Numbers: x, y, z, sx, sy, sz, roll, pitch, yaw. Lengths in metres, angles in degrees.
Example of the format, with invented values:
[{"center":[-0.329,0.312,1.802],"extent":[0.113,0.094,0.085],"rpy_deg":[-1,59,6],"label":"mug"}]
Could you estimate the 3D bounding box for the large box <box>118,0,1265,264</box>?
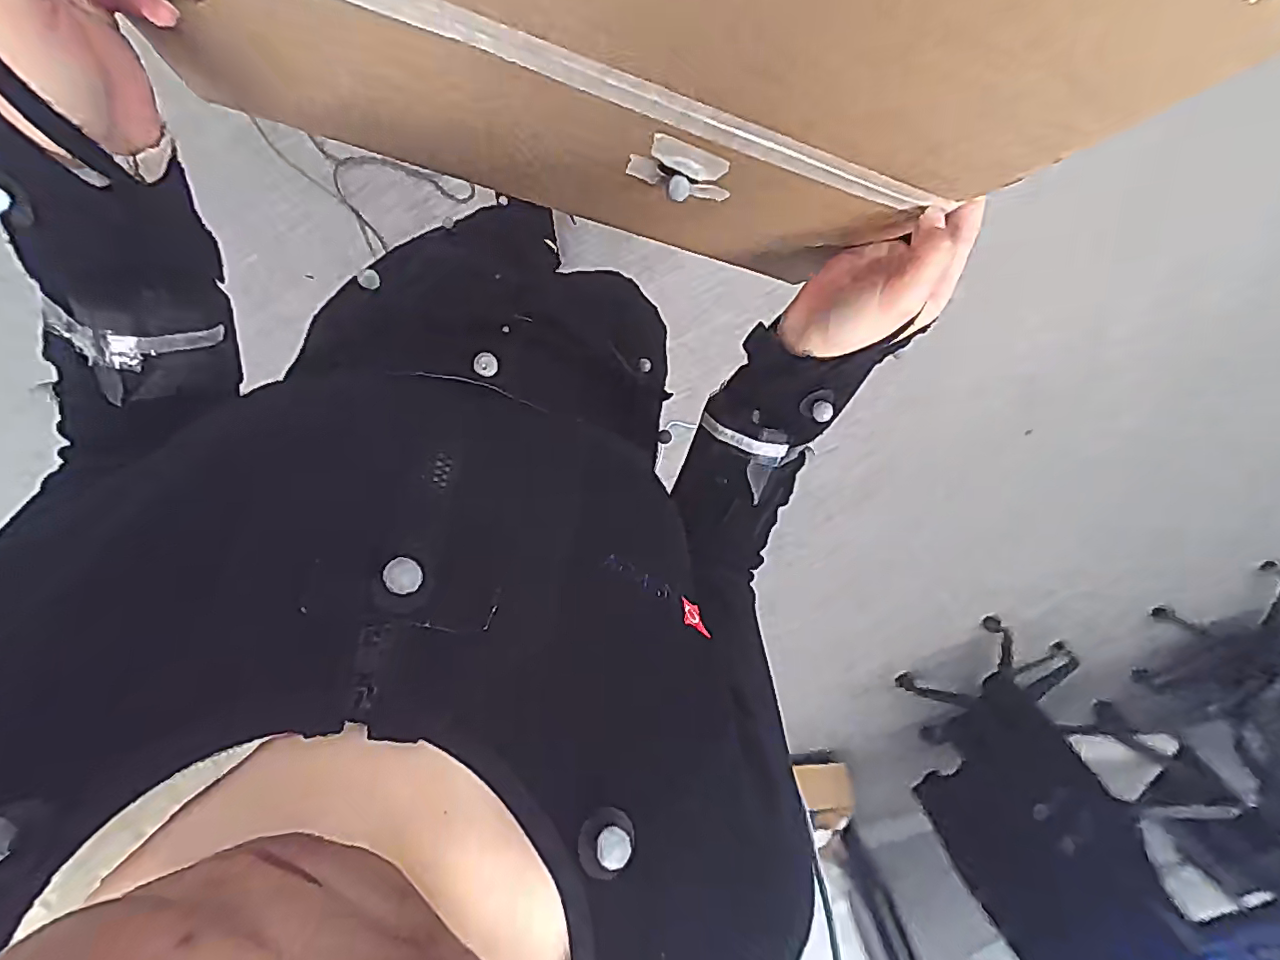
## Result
[{"center":[-0.007,-0.333,0.222],"extent":[0.408,0.320,0.320],"rpy_deg":[9,94,-15],"label":"large box"}]
